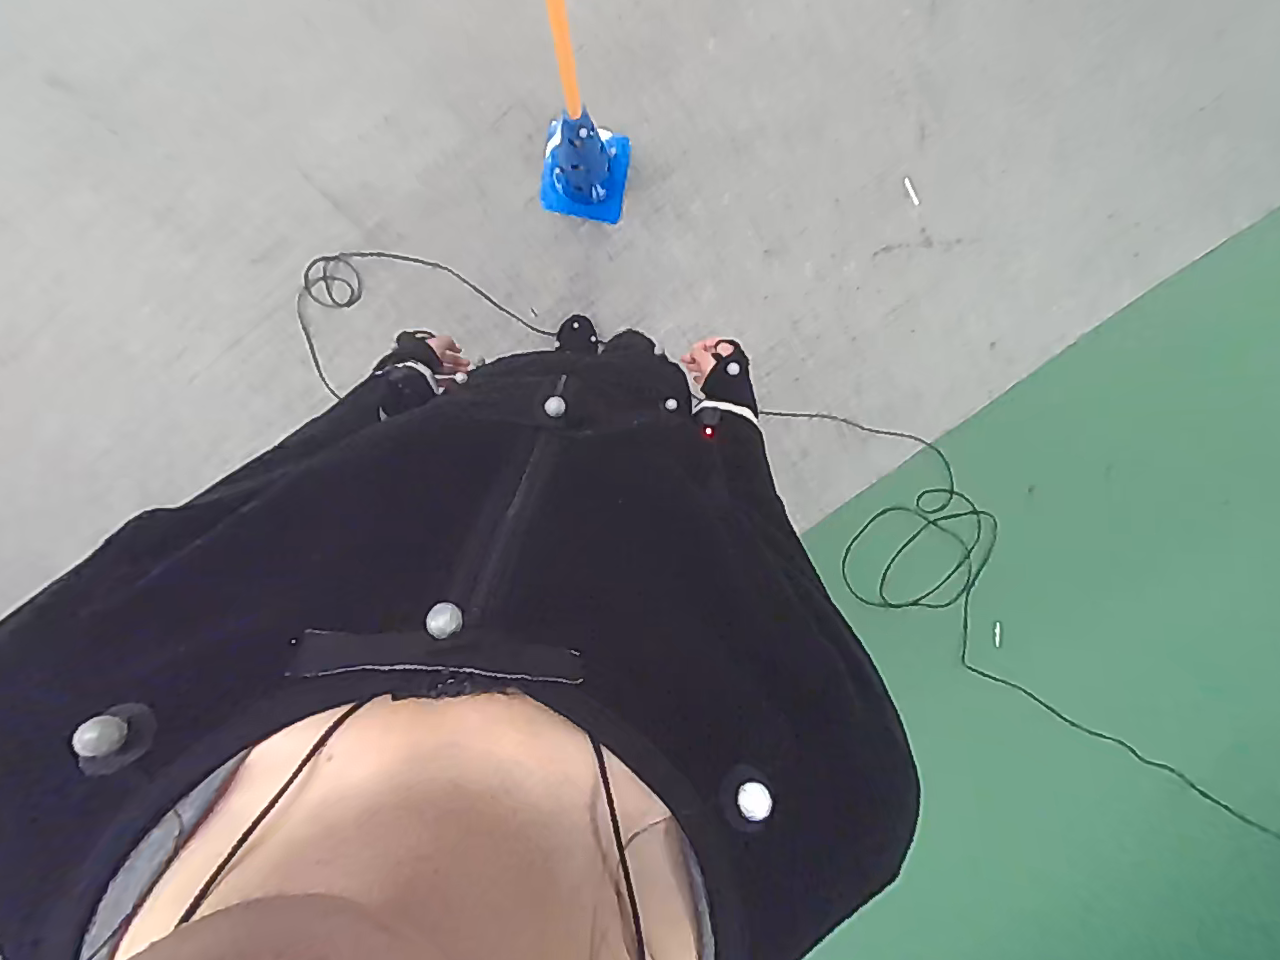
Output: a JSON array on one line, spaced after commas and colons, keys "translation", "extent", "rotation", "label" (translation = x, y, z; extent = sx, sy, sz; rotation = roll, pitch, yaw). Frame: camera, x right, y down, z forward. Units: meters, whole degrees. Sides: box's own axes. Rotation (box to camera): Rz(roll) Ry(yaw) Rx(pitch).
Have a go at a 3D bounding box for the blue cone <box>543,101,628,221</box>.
[{"translation": [-0.123, -0.687, 1.122], "extent": [0.192, 0.380, 0.193], "rotation": [8, 103, -5], "label": "blue cone"}]
